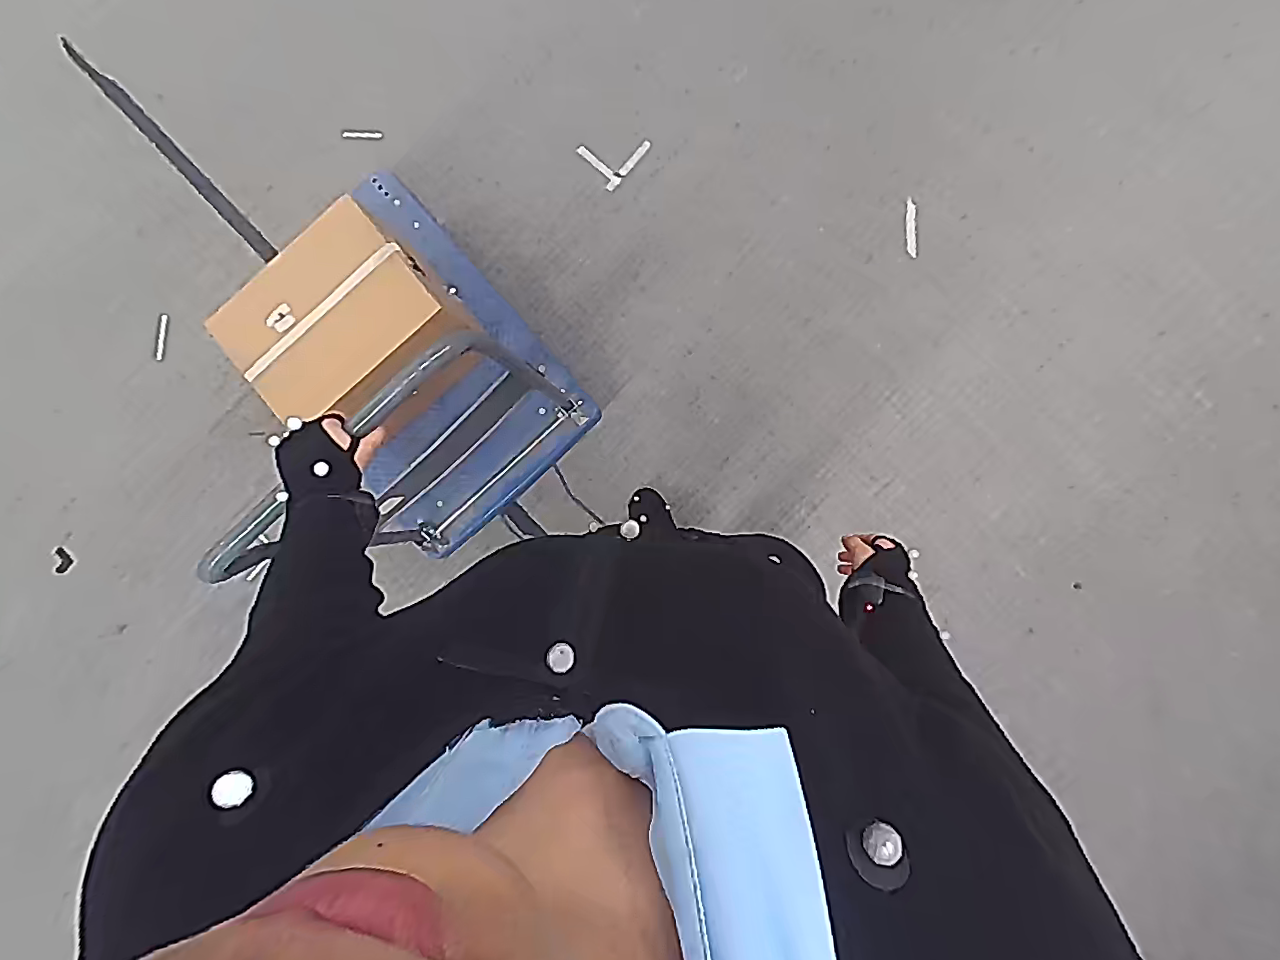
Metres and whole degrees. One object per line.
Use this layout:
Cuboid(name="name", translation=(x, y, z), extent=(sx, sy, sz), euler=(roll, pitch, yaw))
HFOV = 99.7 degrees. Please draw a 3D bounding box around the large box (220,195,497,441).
Cuboid(name="large box", translation=(-0.615, -0.338, 1.246), extent=(0.408, 0.320, 0.320), euler=(-40, 85, 5))
